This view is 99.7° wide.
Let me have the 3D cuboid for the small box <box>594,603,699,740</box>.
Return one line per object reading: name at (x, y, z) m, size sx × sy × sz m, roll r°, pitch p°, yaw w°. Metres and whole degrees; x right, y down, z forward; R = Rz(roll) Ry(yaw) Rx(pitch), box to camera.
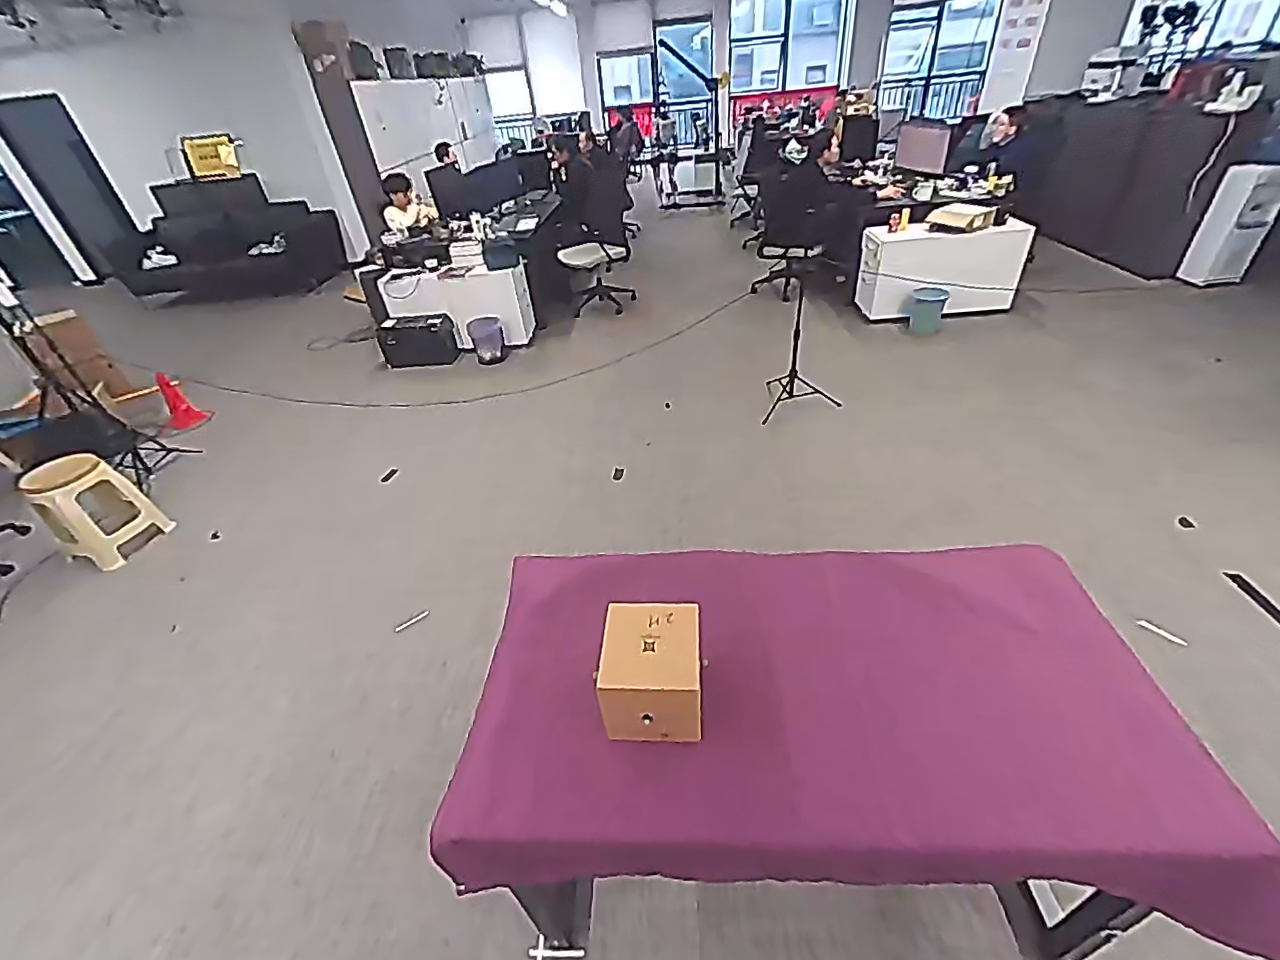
small box at (0.021, 0.345, 0.973) m, size 0.168 × 0.176 × 0.179 m, roll -1°, pitch 37°, yaw 6°
